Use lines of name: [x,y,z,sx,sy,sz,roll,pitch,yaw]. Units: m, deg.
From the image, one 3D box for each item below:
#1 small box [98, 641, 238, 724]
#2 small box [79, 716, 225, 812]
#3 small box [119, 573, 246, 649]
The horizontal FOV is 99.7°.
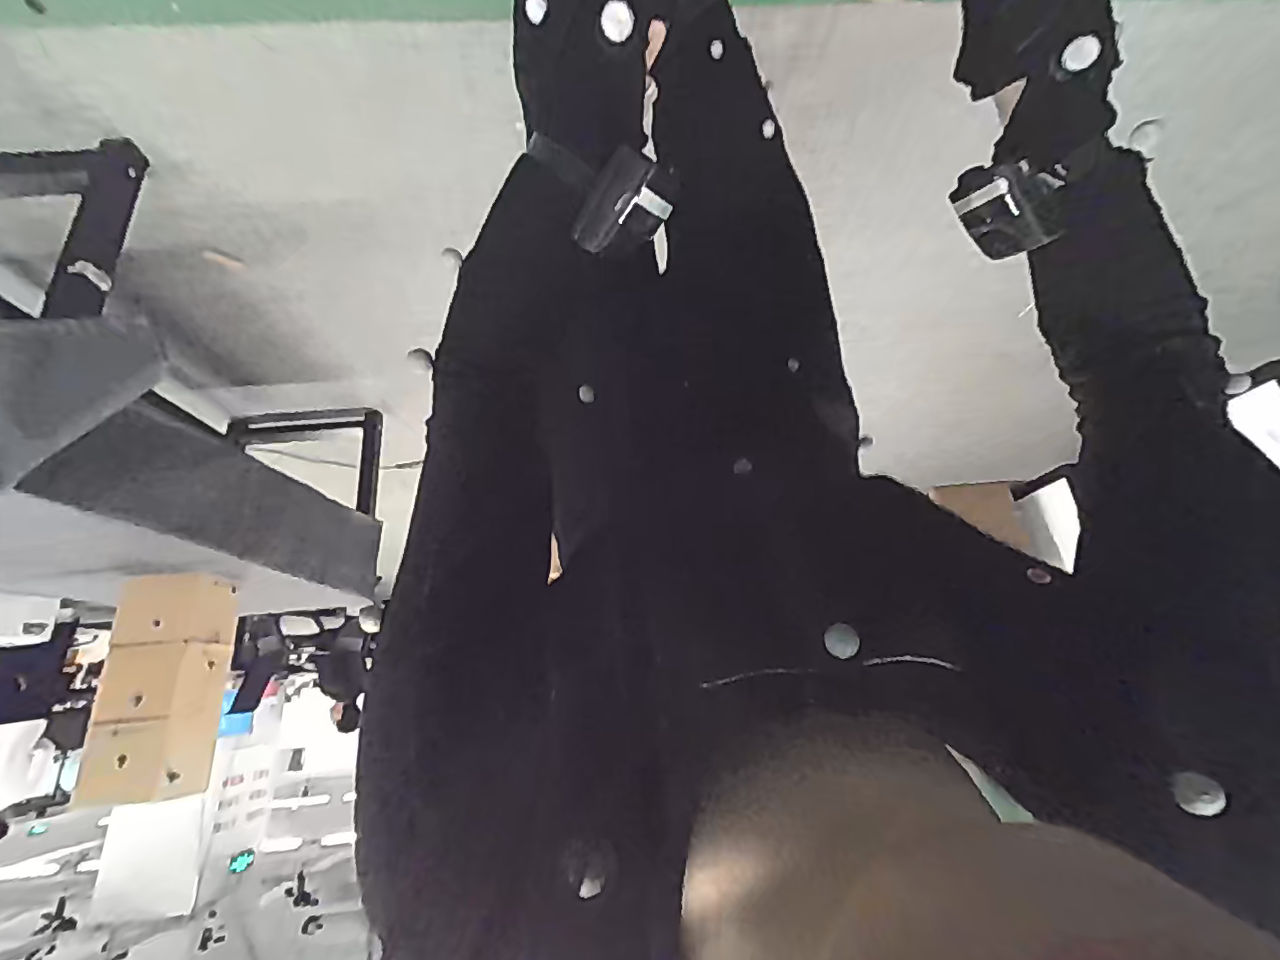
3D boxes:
small box: [-1.111,0.481,1.290,0.179,0.176,0.168,-4,159,-2]
small box: [-1.094,0.634,1.229,0.168,0.176,0.179,-4,159,-4]
small box: [-1.125,0.331,1.349,0.179,0.176,0.168,-4,159,-2]
